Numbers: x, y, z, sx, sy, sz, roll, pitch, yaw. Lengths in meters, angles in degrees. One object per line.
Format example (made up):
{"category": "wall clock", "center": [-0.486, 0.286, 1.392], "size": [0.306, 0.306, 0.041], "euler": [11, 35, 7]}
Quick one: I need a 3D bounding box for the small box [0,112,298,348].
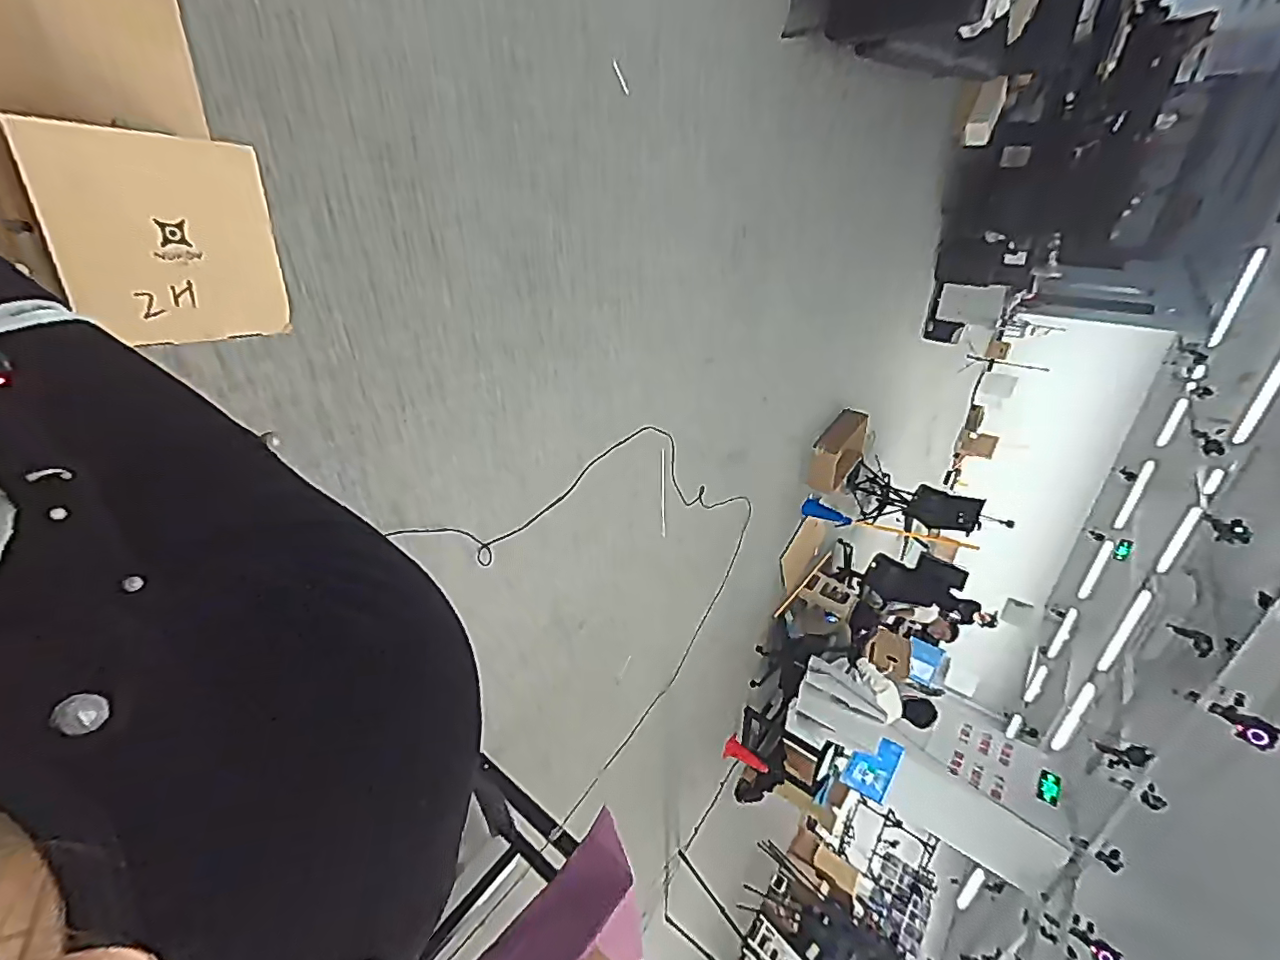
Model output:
{"category": "small box", "center": [-0.477, -0.236, 0.533], "size": [0.168, 0.176, 0.179], "euler": [-25, 125, -45]}
